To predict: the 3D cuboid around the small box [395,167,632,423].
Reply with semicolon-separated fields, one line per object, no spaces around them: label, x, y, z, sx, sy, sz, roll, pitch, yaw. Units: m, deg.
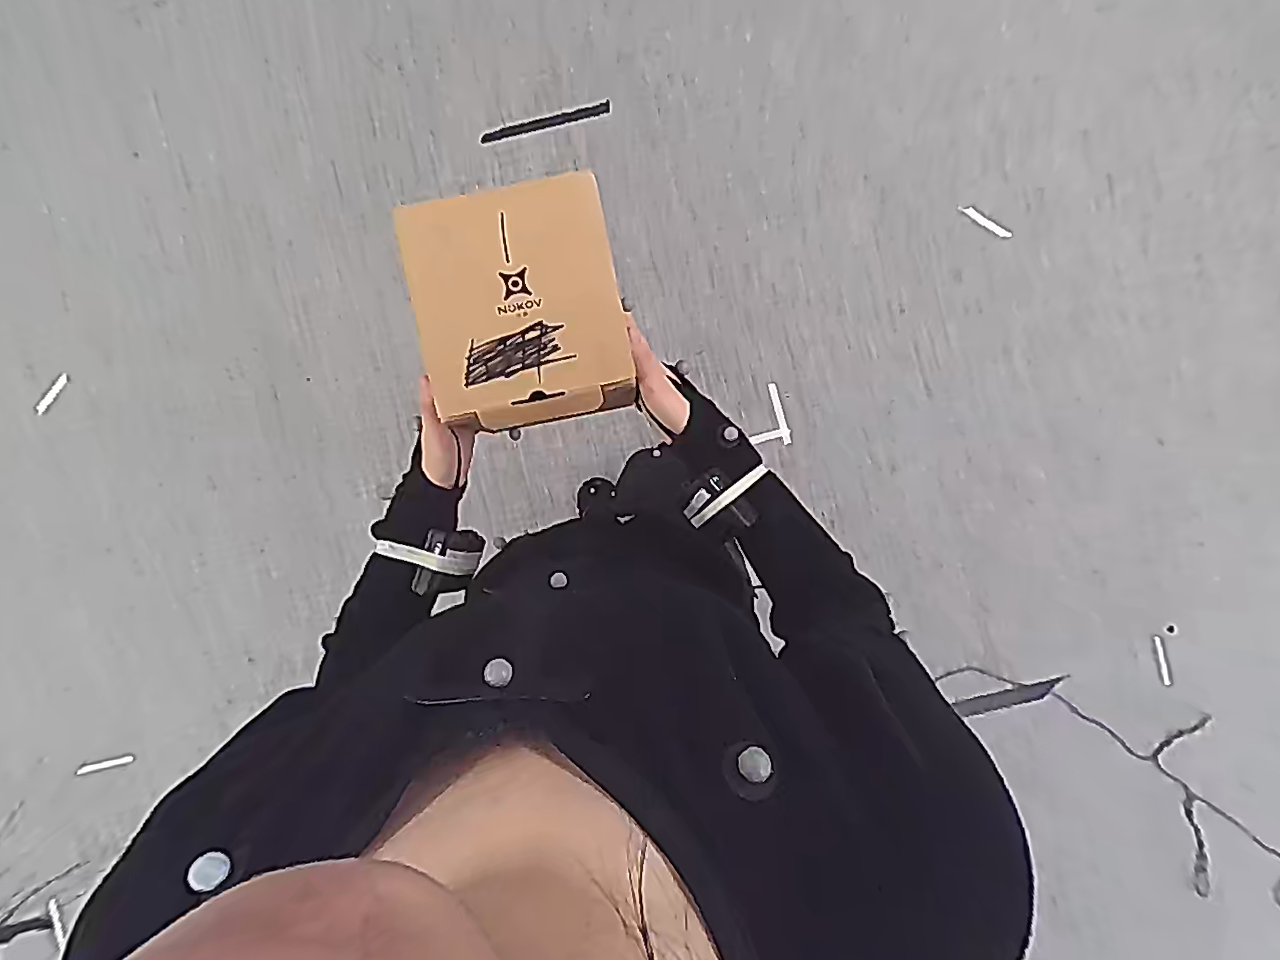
small box;-0.102;-0.153;0.514;0.168;0.176;0.179;-11;91;-1
